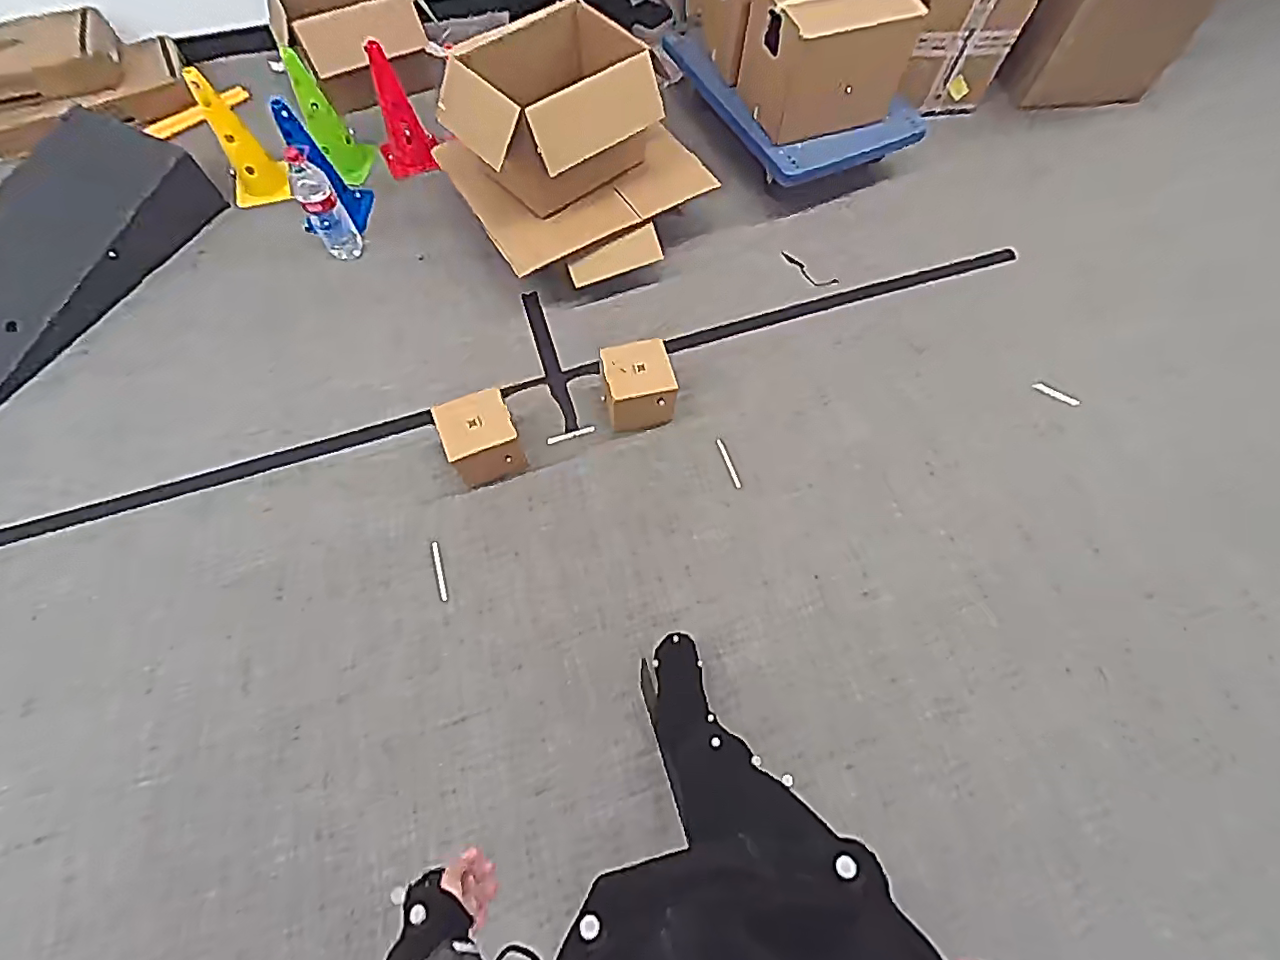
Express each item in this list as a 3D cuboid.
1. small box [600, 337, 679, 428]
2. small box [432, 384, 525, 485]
[{"bbox_3d":[-0.007,-0.261,1.469,0.179,0.176,0.168,-13,67,-8],"label":"small box"},{"bbox_3d":[-0.407,-0.112,1.395,0.179,0.176,0.168,-23,68,-10],"label":"small box"}]
